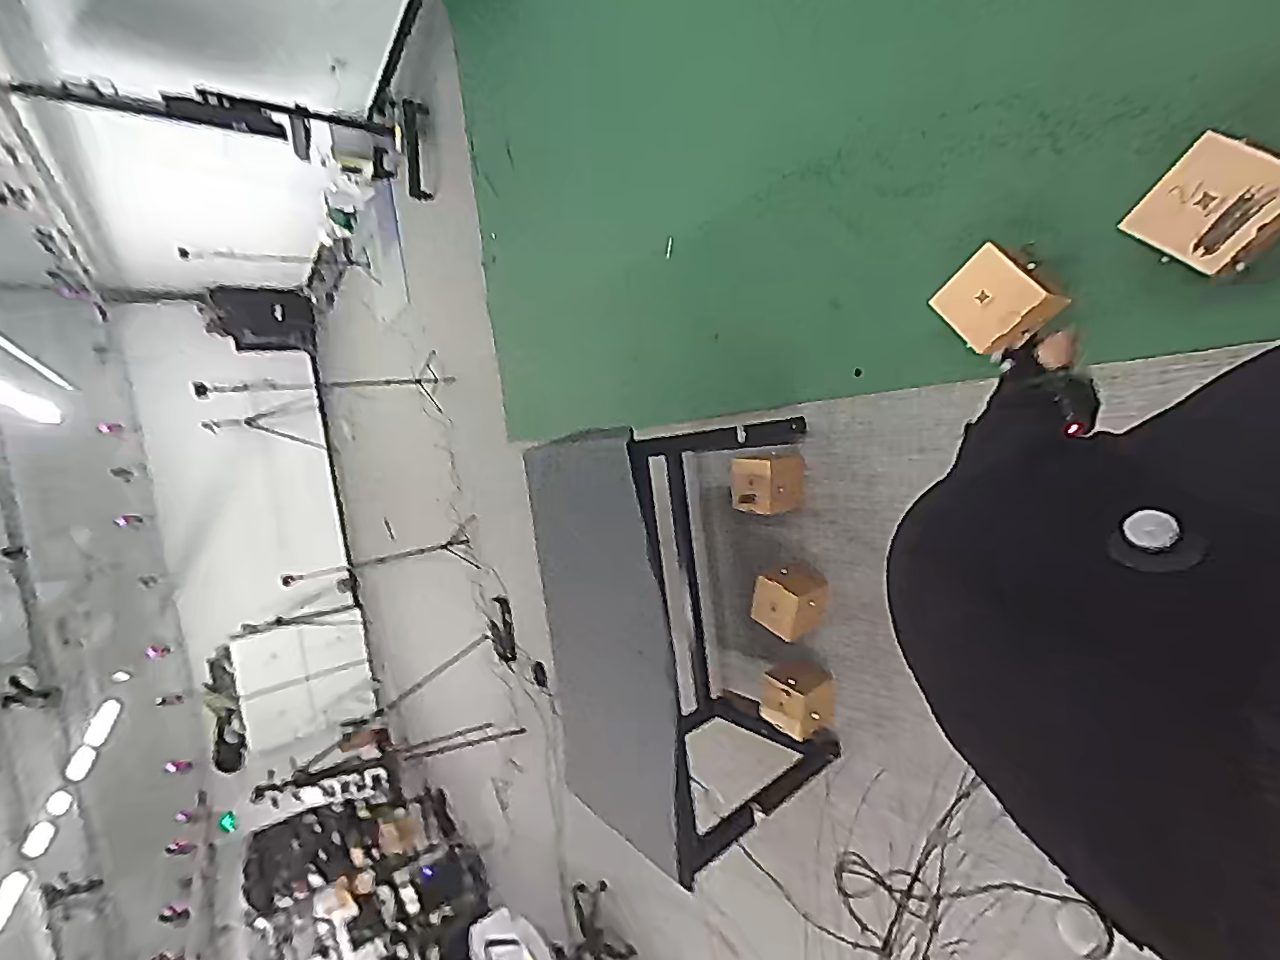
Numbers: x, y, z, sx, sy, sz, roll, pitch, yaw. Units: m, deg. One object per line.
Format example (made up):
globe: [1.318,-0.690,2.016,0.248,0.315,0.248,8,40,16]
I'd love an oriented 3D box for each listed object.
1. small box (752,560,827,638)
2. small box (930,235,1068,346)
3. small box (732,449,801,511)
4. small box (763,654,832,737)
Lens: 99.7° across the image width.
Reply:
small box: [0.507,0.394,1.827,0.168,0.176,0.179,28,122,46]
small box: [0.812,-0.420,1.225,0.179,0.176,0.168,59,138,23]
small box: [0.429,-0.006,1.822,0.168,0.176,0.179,7,104,51]
small box: [0.545,0.736,1.868,0.168,0.176,0.179,17,113,49]
